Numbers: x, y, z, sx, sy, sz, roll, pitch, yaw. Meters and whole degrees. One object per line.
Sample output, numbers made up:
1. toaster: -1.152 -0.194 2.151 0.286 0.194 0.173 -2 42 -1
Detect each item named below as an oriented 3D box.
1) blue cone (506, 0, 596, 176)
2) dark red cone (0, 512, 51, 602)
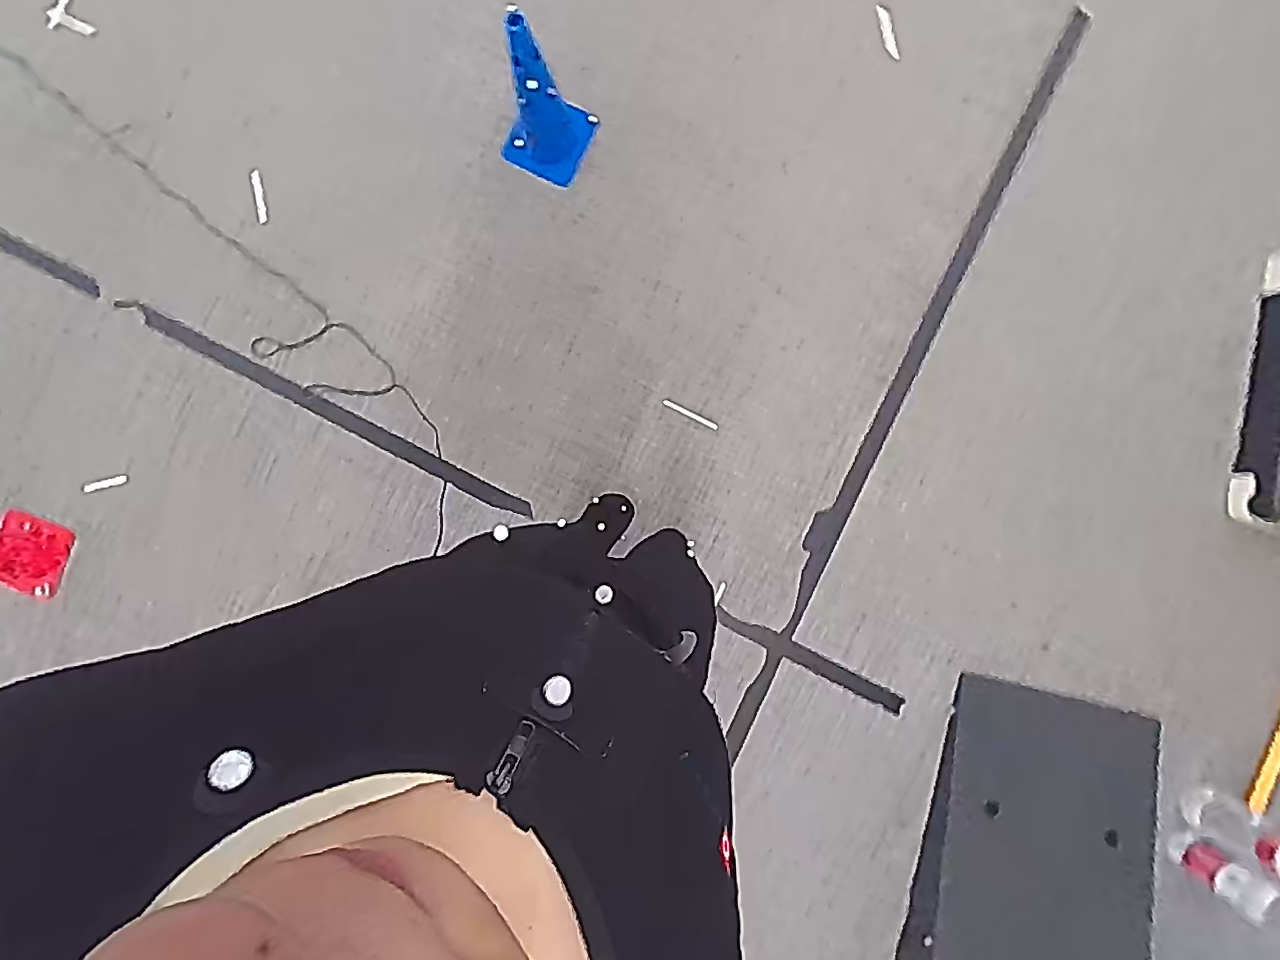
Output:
1. blue cone: -0.233 -0.888 1.214 0.193 0.380 0.192 28 89 2
2. dark red cone: -1.626 0.188 1.218 0.202 0.394 0.201 19 89 2
